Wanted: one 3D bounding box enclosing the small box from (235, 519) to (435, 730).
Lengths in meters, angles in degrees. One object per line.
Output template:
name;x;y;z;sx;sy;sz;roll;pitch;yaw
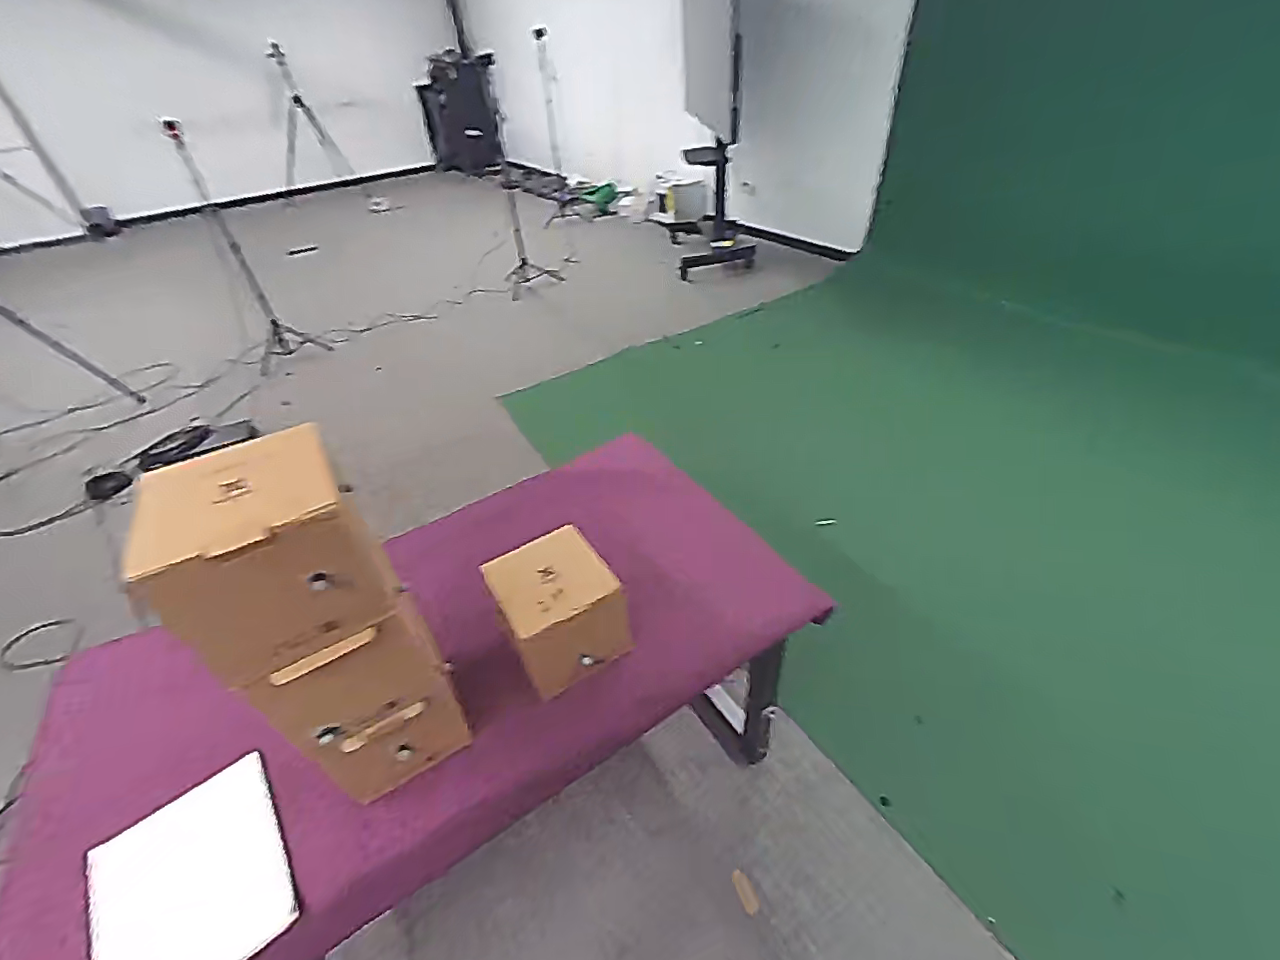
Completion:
small box;-0.382;0.185;0.688;0.168;0.176;0.179;-24;43;-22

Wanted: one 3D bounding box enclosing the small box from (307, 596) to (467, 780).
small box;-0.375;0.308;0.798;0.168;0.176;0.179;-24;45;-22

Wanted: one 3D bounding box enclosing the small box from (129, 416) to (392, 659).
small box;-0.389;0.064;0.580;0.168;0.176;0.179;-23;43;-22
